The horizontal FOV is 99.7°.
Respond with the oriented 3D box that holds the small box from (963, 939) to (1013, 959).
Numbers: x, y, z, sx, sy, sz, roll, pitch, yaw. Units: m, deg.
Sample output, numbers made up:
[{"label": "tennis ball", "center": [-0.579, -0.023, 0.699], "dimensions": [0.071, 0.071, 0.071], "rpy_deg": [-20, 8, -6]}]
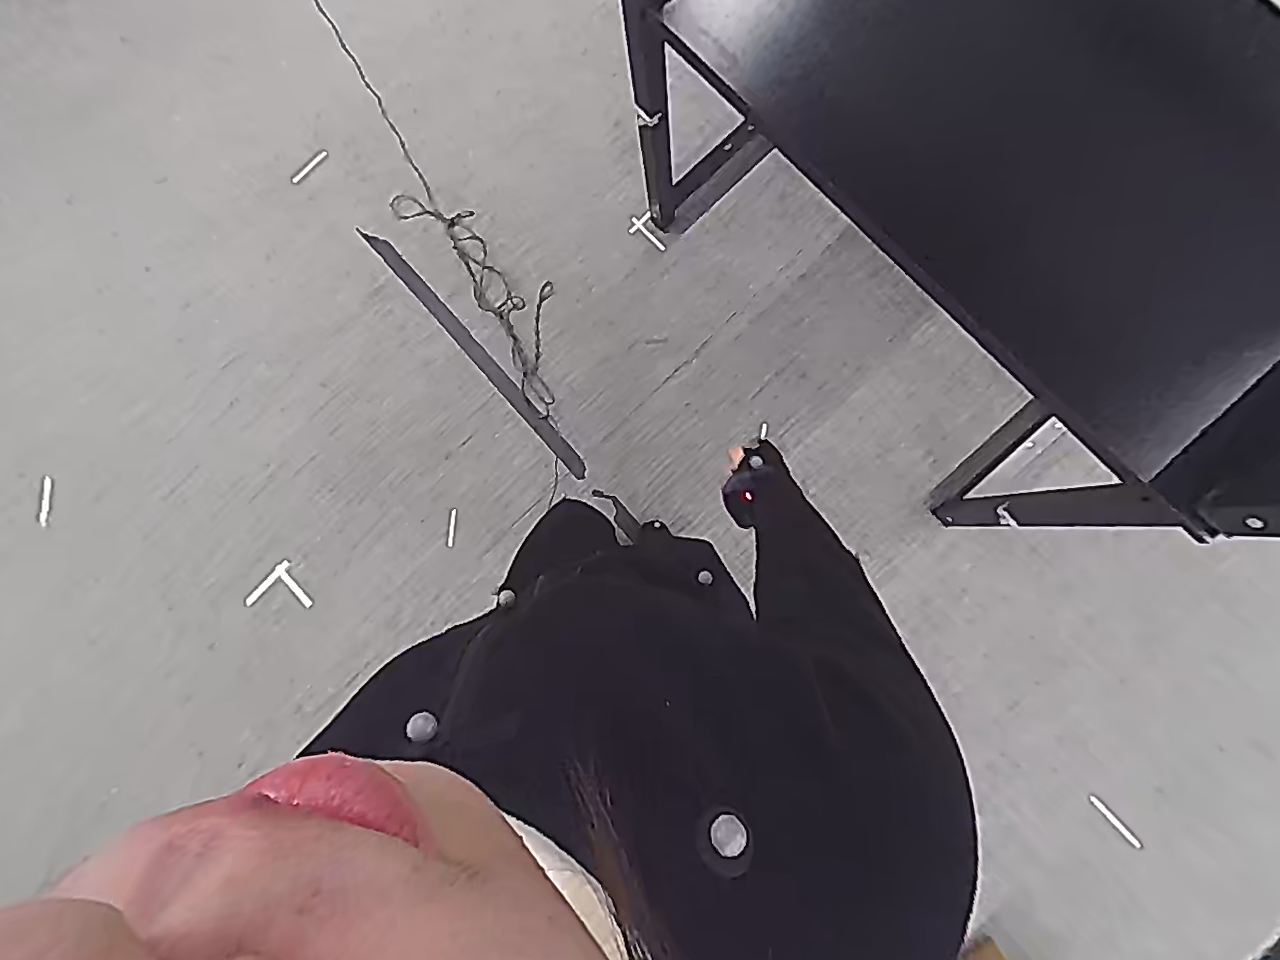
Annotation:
[{"label": "small box", "center": [0.853, 1.244, 1.257], "dimensions": [0.179, 0.176, 0.168], "rpy_deg": [-43, 83, 2]}]
